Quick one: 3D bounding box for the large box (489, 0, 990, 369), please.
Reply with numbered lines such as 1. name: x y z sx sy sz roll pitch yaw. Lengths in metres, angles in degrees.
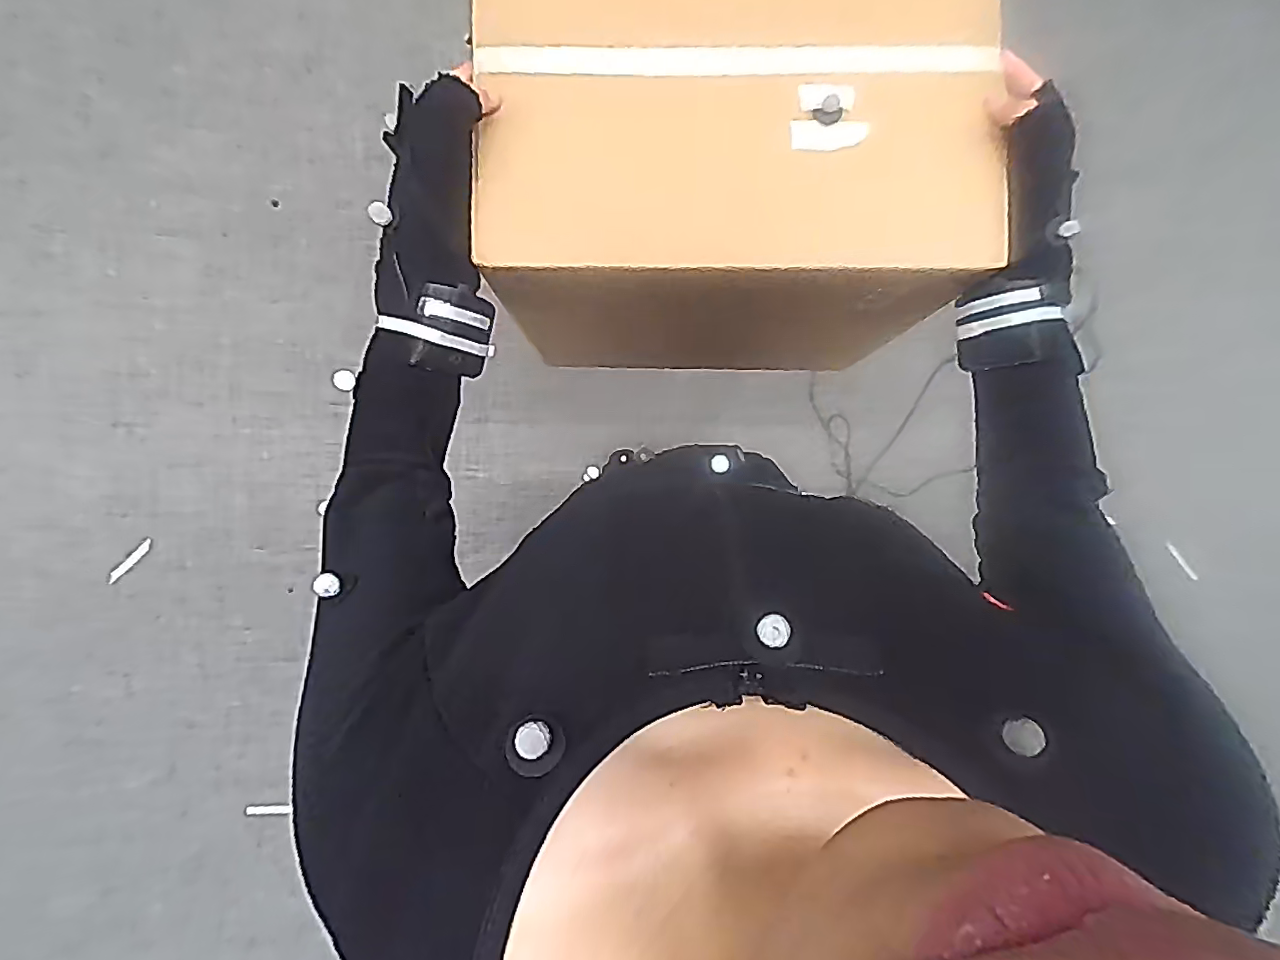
1. large box: 0.075 -0.312 0.582 0.408 0.320 0.320 0 87 0
